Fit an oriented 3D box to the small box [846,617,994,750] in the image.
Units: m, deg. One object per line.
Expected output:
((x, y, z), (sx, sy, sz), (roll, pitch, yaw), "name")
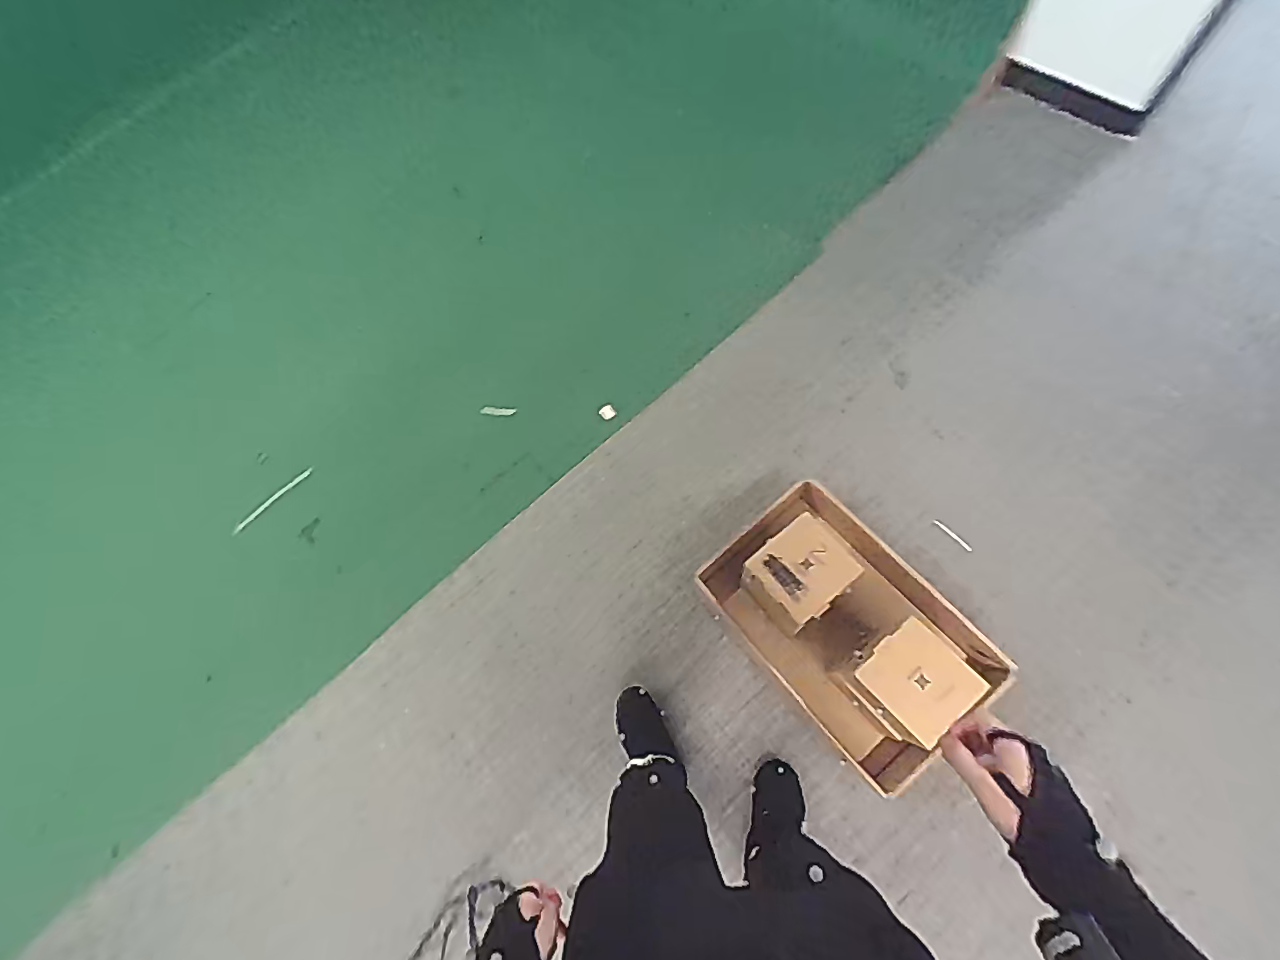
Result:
((0.535, 0.397, 1.065), (0.168, 0.176, 0.179), (-42, 68, -5), "small box")
